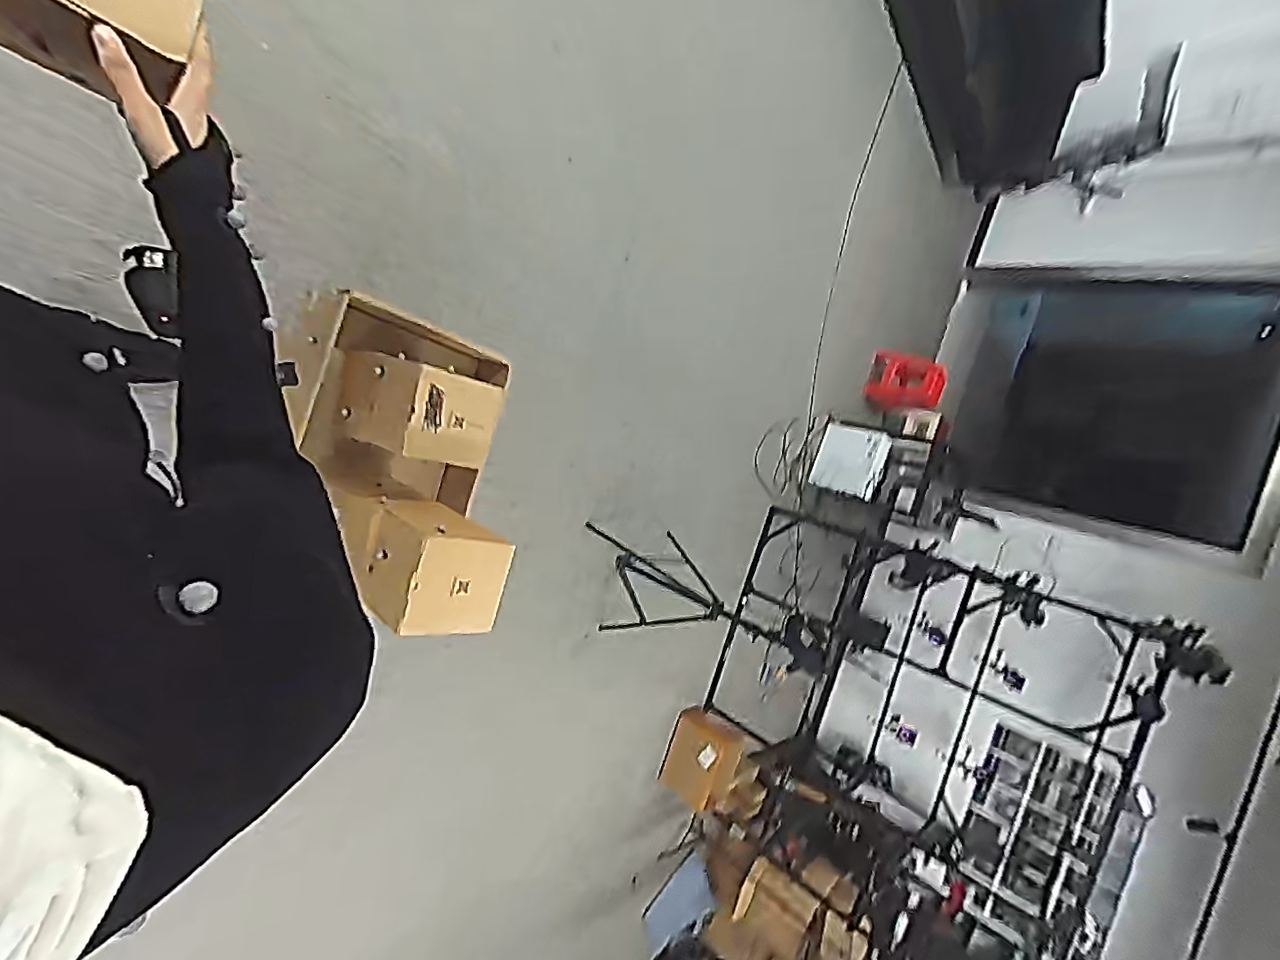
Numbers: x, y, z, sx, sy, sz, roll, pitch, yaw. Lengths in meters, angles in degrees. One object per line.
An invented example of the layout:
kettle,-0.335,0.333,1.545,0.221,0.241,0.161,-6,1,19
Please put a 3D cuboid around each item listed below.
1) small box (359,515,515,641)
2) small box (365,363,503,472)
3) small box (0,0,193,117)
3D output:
small box,-0.357,0.167,0.950,0.179,0.176,0.168,15,92,-49
small box,-0.403,-0.122,1.048,0.179,0.176,0.168,11,96,-52
small box,-0.494,-0.459,0.458,0.168,0.176,0.179,12,90,-49
